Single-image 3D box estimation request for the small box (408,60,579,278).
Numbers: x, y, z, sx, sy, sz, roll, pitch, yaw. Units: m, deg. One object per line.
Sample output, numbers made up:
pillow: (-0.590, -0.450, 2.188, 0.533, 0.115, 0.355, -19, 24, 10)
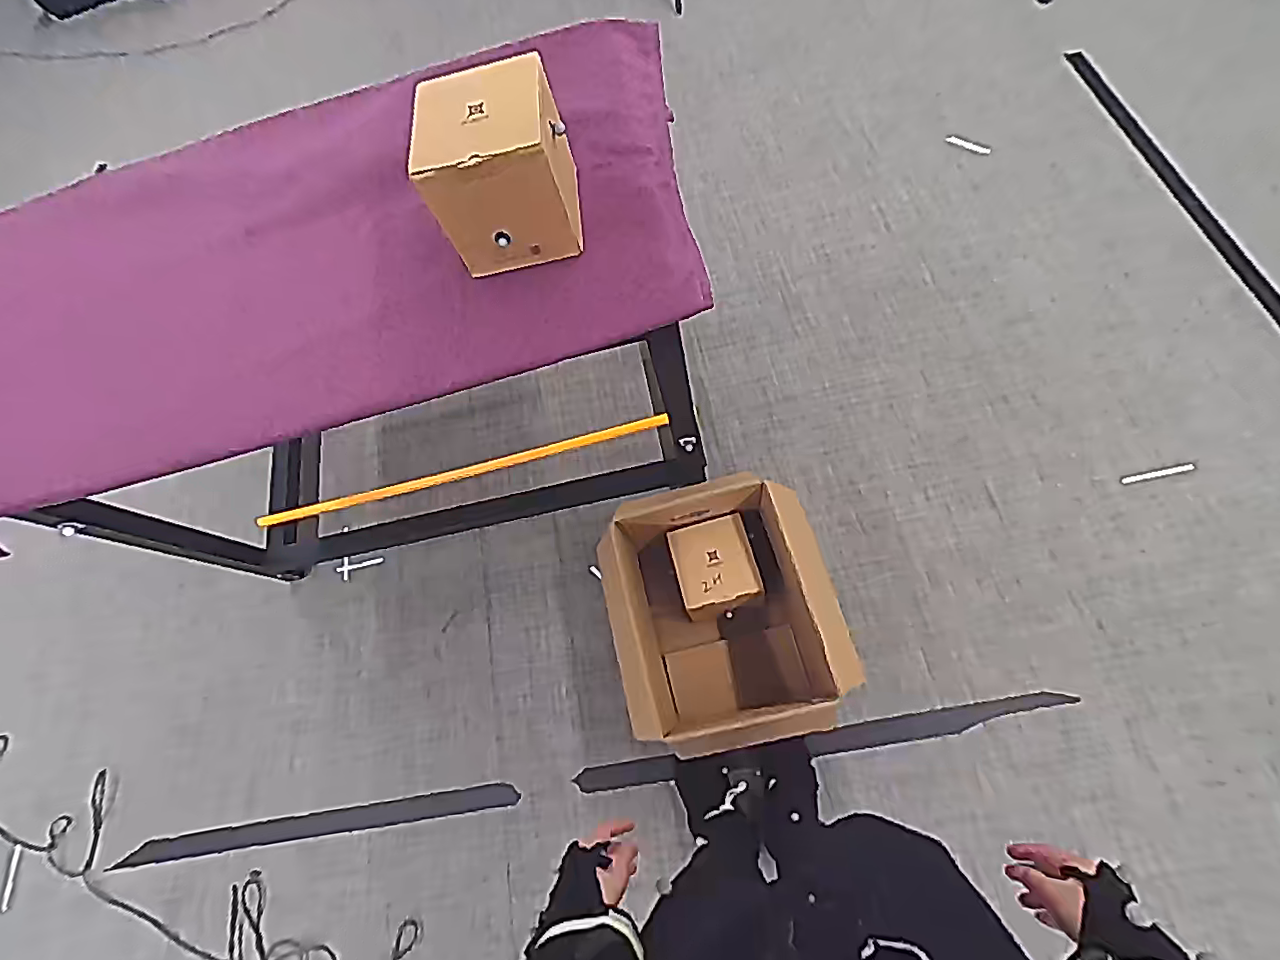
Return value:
small box: (-0.187, -0.409, 0.731, 0.168, 0.176, 0.179, -10, 67, 7)
